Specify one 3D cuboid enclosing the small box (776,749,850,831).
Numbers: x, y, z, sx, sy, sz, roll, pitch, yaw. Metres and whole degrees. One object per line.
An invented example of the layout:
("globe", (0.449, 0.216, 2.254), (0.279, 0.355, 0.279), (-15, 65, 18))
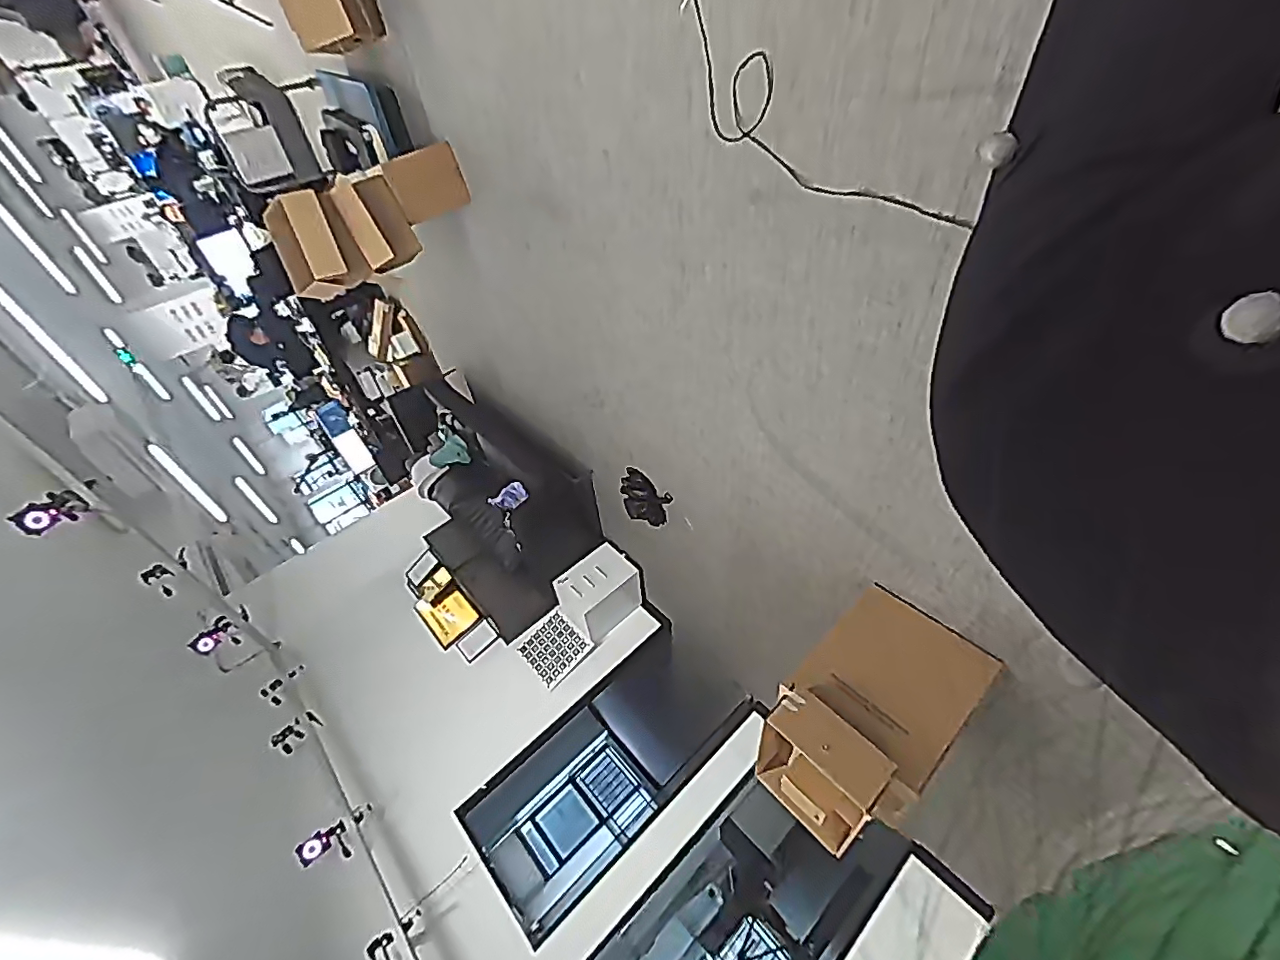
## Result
("small box", (0.607, 1.083, 1.907), (0.179, 0.176, 0.168), (37, 151, 36))
